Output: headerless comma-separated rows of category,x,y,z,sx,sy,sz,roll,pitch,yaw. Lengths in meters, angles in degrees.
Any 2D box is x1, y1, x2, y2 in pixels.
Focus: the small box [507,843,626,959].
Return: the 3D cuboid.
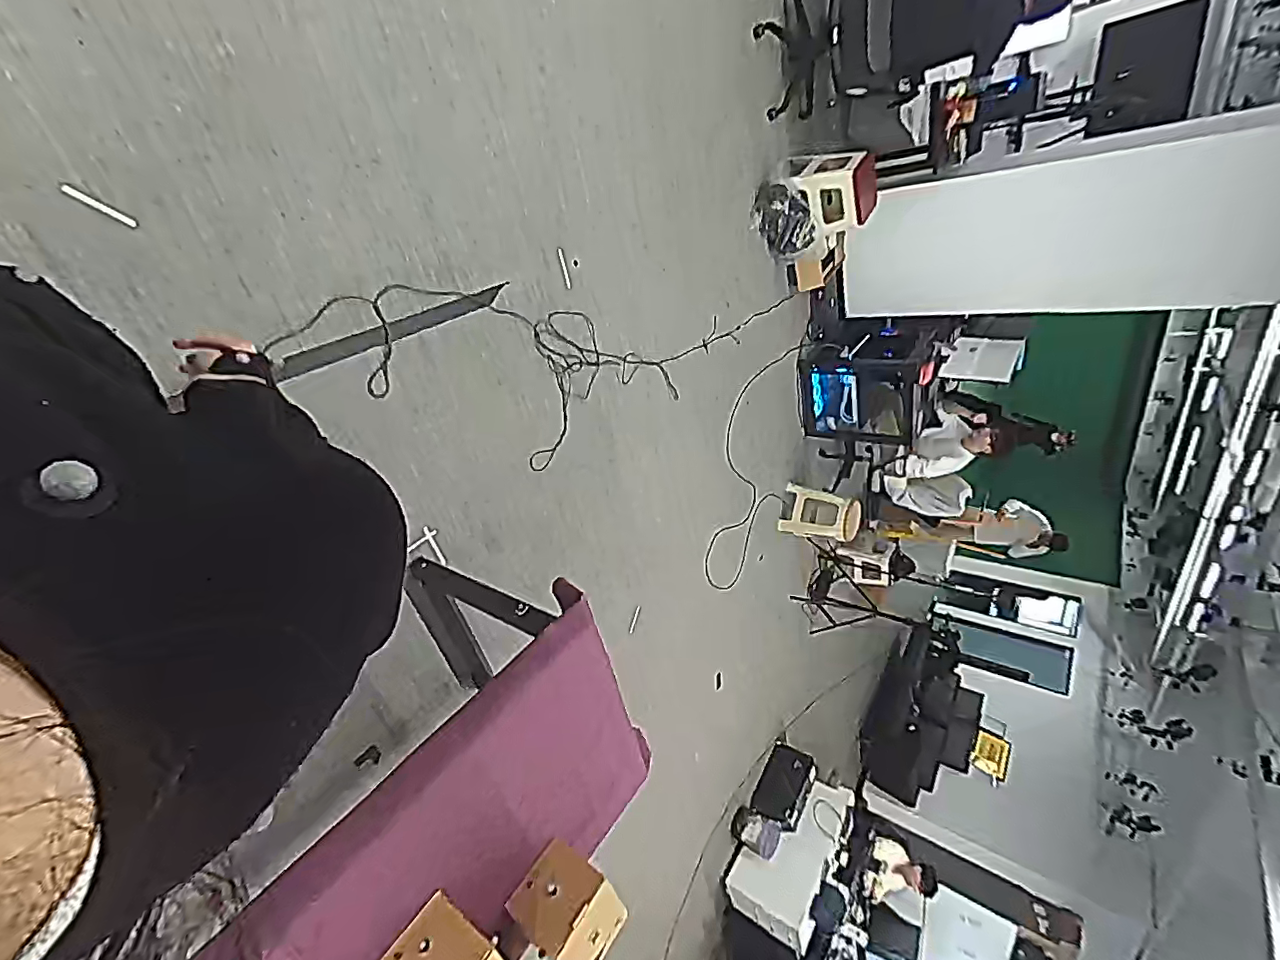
small box,-0.163,0.945,1.189,0.168,0.176,0.179,-42,126,-38
